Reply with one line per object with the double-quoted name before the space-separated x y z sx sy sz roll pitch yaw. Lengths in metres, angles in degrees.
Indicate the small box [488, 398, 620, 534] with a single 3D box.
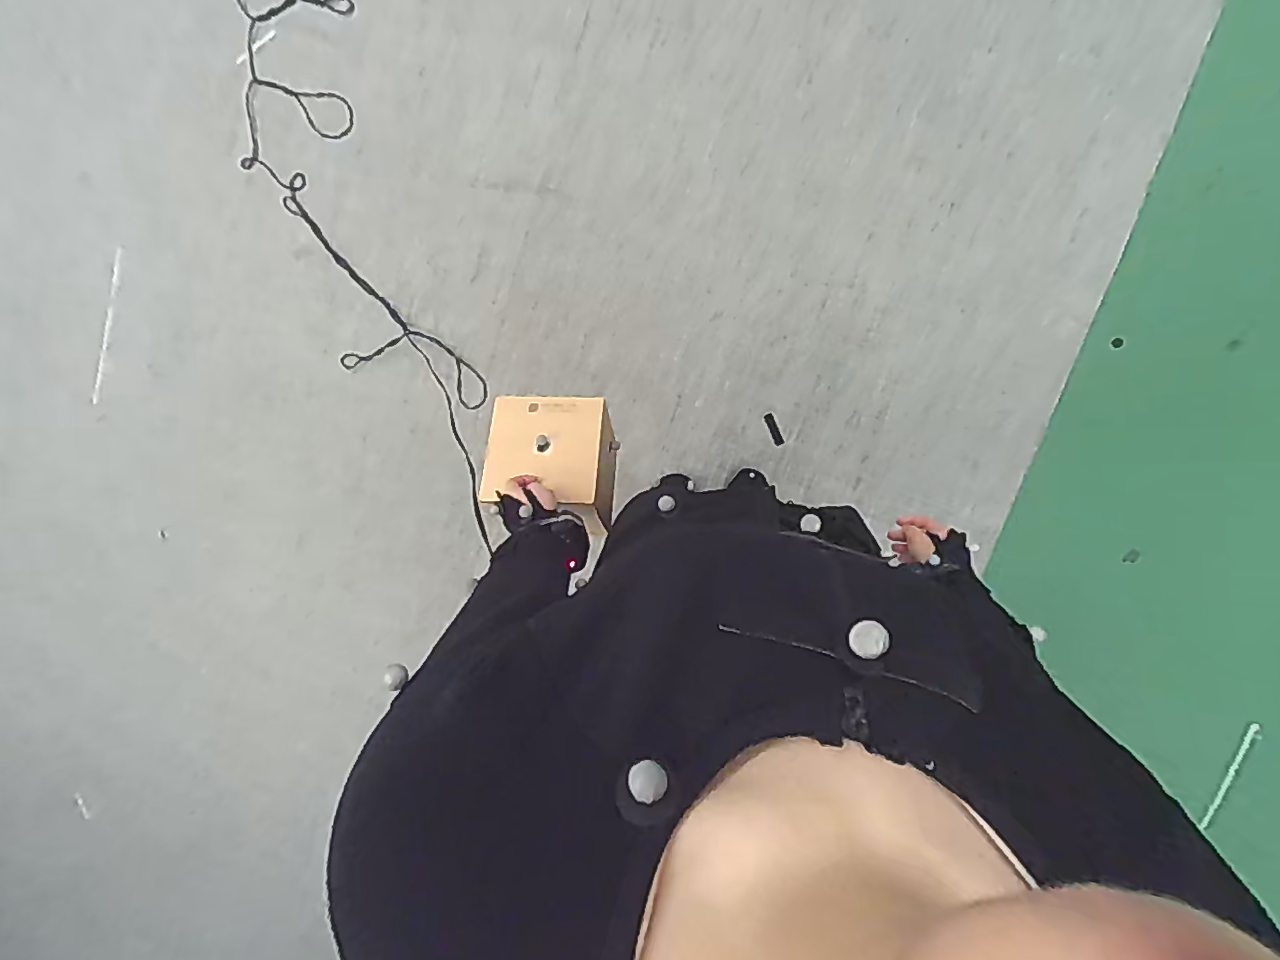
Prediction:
"small box" -0.124 -0.019 0.847 0.168 0.179 0.176 0 70 6
